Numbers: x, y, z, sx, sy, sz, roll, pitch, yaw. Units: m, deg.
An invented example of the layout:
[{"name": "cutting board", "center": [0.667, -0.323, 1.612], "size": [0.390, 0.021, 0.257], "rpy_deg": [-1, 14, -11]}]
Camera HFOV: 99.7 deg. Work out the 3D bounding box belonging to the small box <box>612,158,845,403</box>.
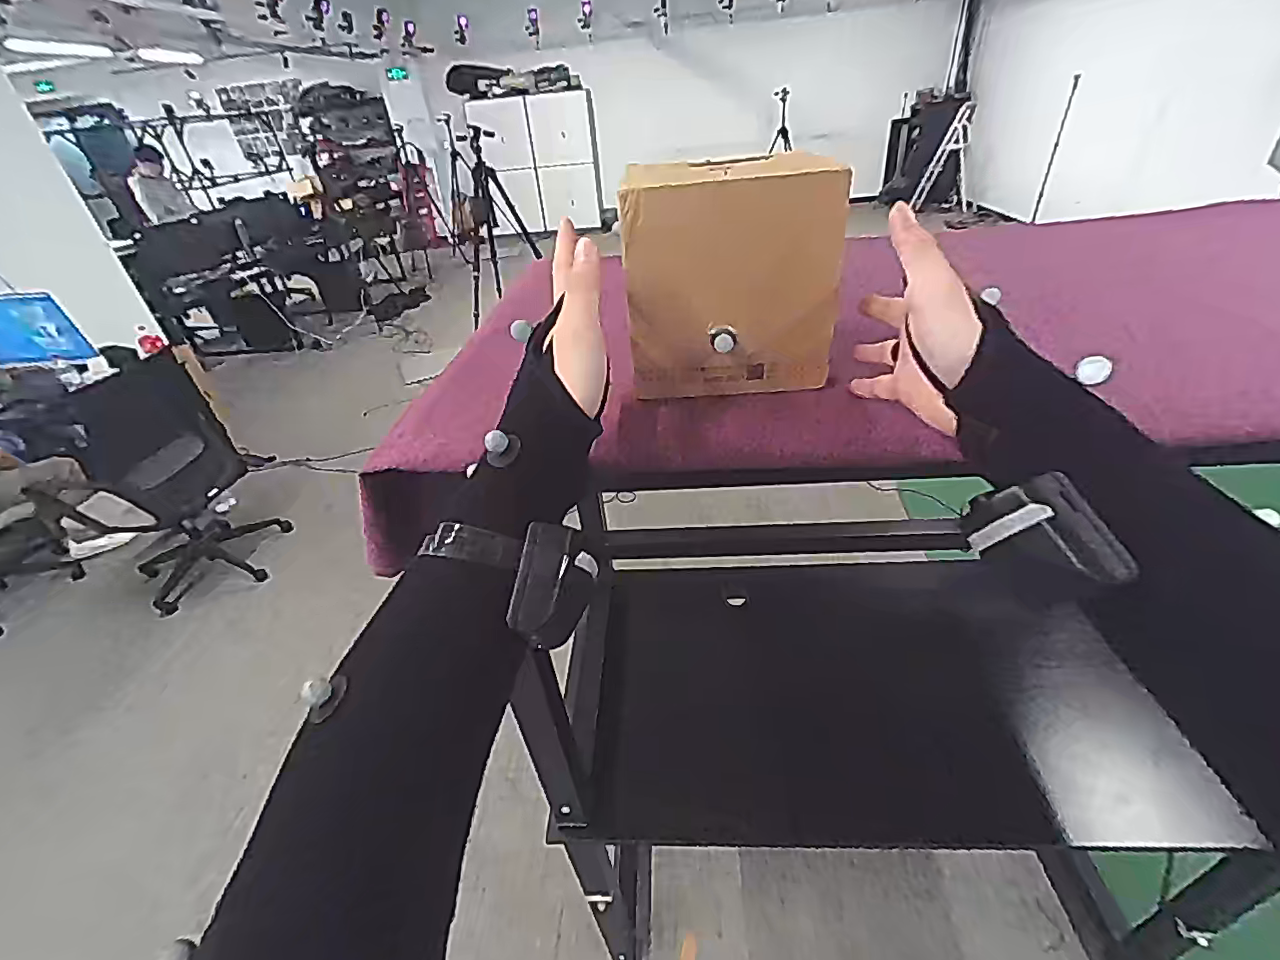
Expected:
[{"name": "small box", "center": [0.070, -0.183, 0.490], "size": [0.168, 0.176, 0.179], "rpy_deg": [-3, 35, 4]}]
